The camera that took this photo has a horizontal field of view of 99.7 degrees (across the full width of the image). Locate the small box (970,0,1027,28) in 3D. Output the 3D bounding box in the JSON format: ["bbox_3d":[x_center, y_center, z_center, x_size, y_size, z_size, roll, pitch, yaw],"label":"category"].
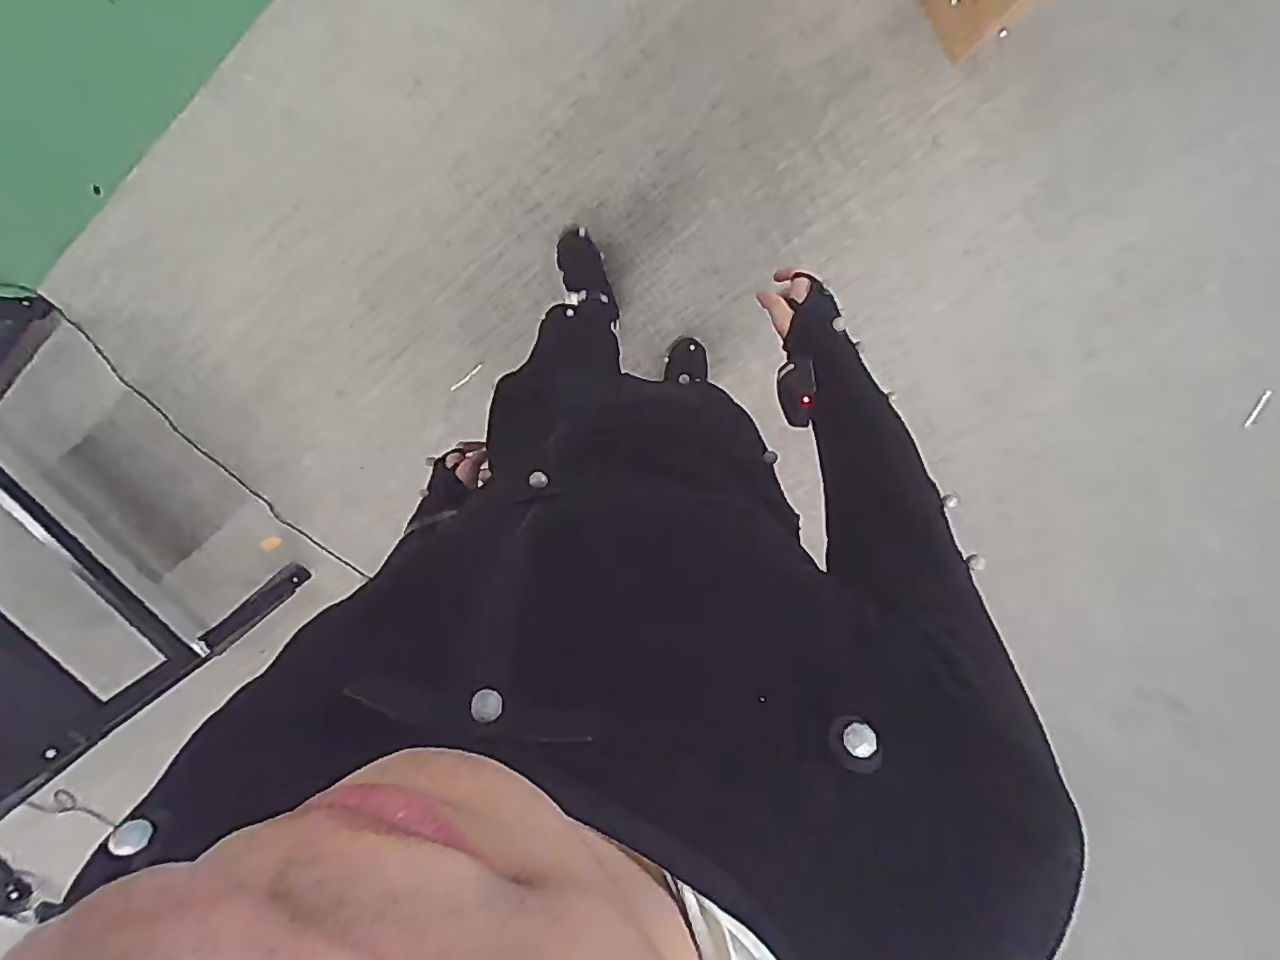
[{"bbox_3d":[0.710,-0.989,0.983,0.179,0.176,0.168,-31,103,14],"label":"small box"}]

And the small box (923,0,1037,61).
[{"bbox_3d":[0.729,-1.044,1.136,0.168,0.176,0.179,-32,102,16],"label":"small box"}]
